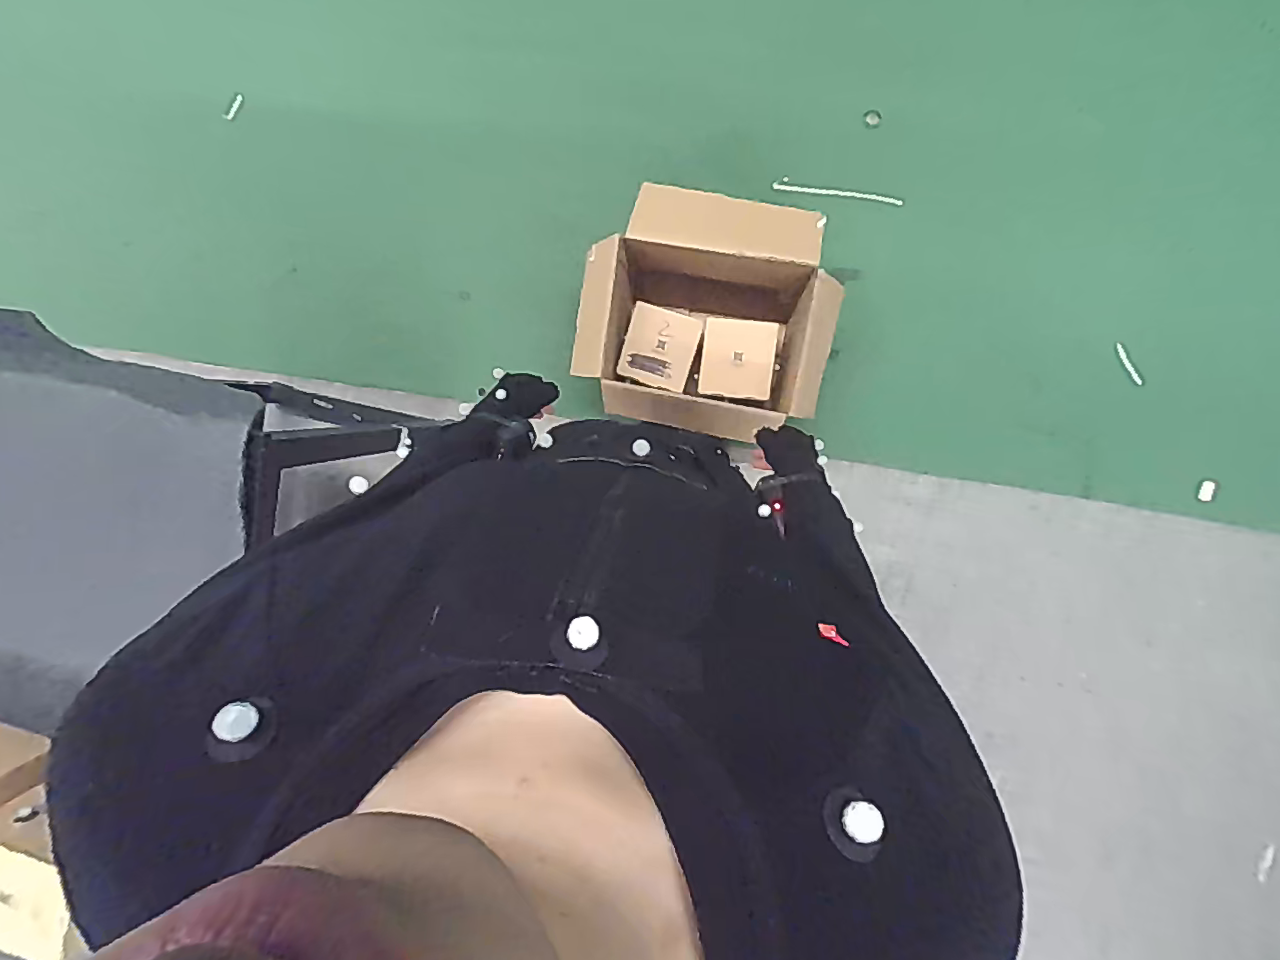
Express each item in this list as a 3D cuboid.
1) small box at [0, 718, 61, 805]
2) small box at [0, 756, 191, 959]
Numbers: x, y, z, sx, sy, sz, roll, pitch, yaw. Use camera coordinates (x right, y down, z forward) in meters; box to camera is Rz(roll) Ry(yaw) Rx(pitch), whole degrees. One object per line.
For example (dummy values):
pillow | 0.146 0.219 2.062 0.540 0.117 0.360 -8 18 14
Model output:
small box | -1.065 0.495 0.836 0.179 0.176 0.168 15 99 3
small box | -0.845 0.557 0.821 0.179 0.176 0.168 15 99 4
